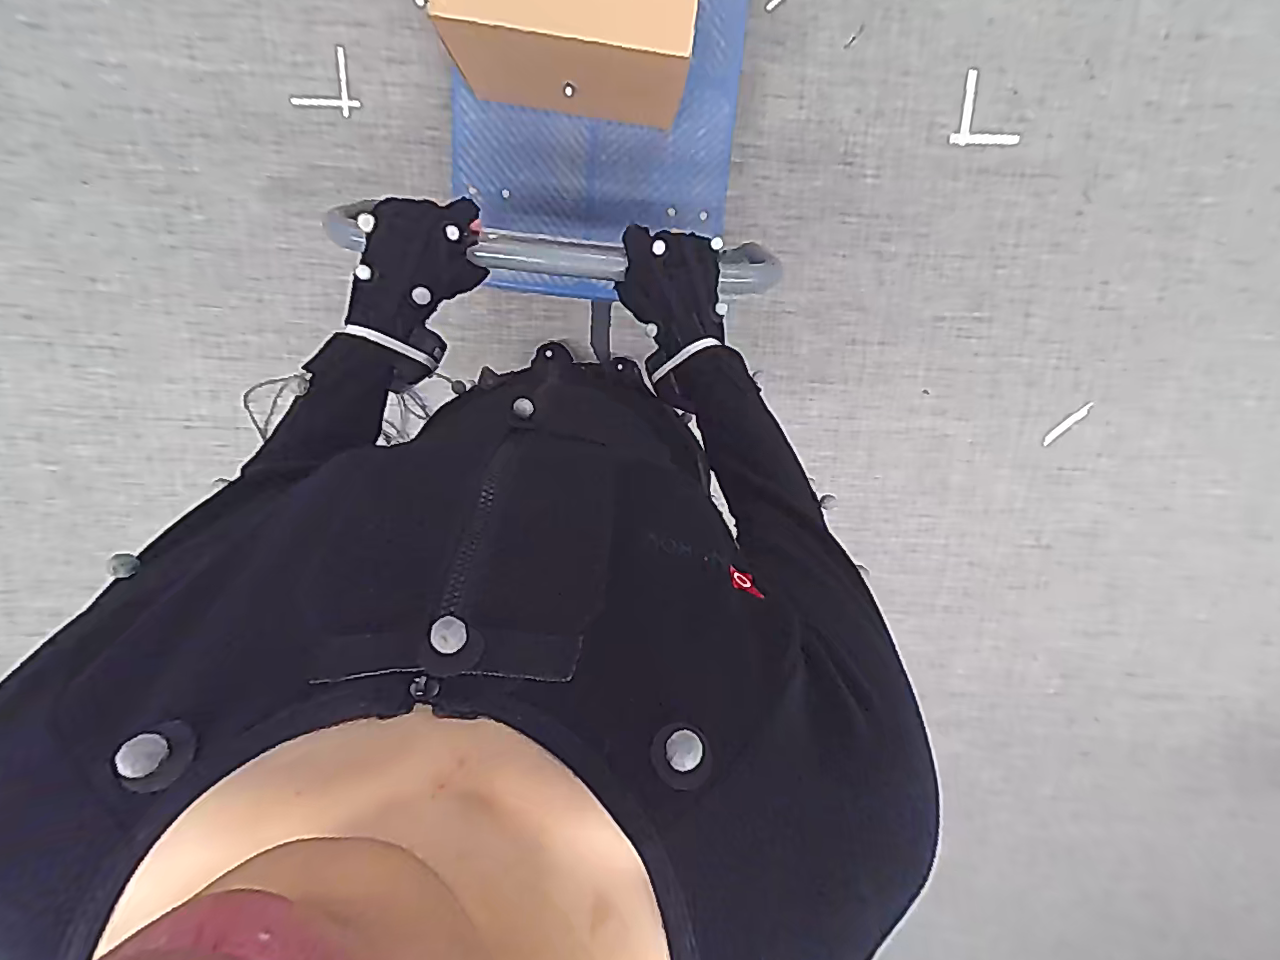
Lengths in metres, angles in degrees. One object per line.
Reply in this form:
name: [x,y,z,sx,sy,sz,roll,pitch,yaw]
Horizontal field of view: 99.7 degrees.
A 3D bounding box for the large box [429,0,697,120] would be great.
large box: [-0.106,-0.863,0.925,0.408,0.320,0.320,6,105,-4]
